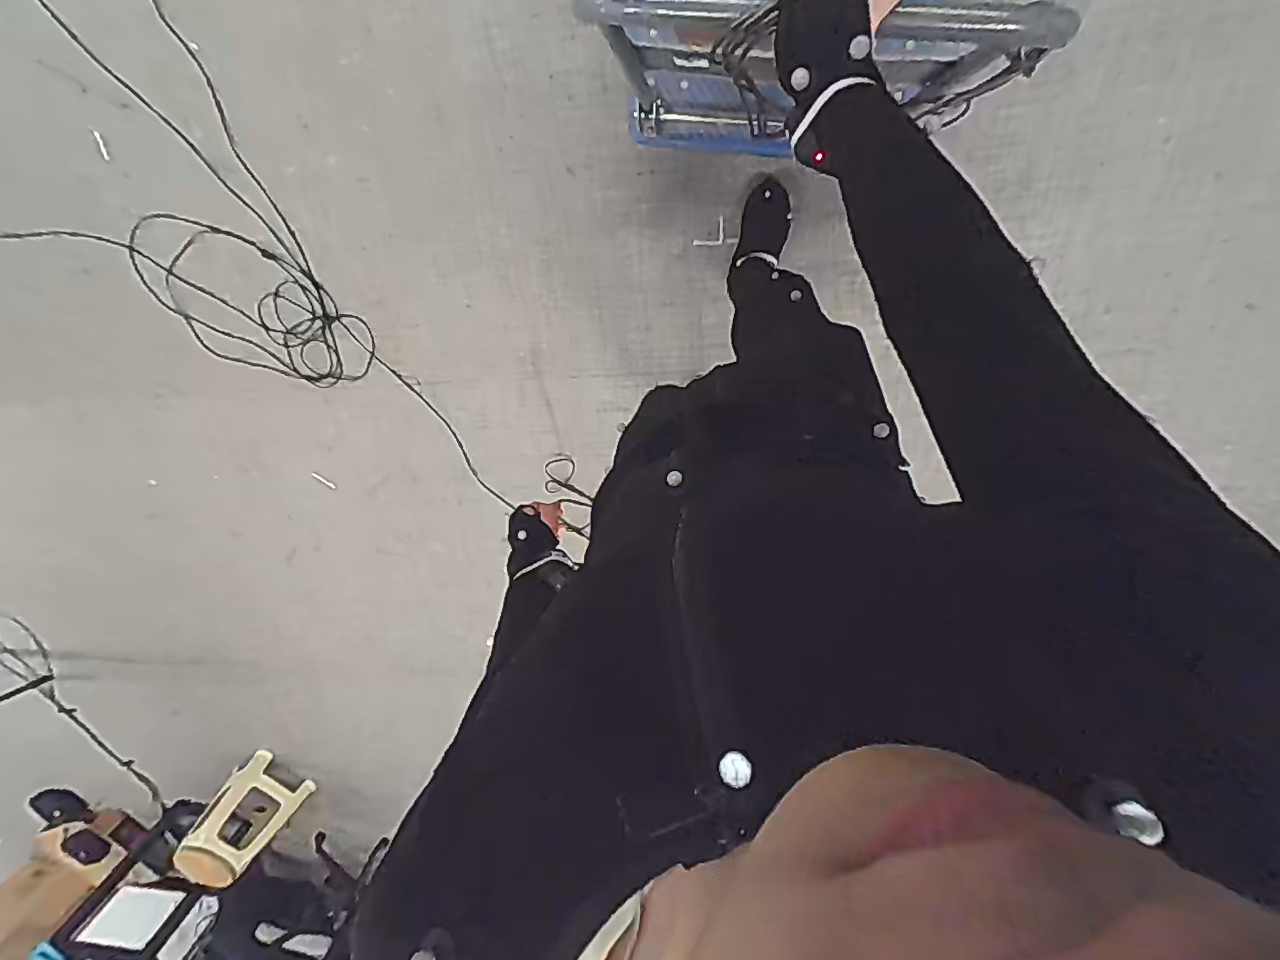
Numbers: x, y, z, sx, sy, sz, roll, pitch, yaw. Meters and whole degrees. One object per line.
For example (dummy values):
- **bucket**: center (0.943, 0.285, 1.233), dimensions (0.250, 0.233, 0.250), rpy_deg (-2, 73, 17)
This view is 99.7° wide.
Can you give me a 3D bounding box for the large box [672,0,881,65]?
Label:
- **large box**: center (0.234, -0.929, 0.831), dimensions (0.320, 0.320, 0.408), rpy_deg (10, 117, 4)
